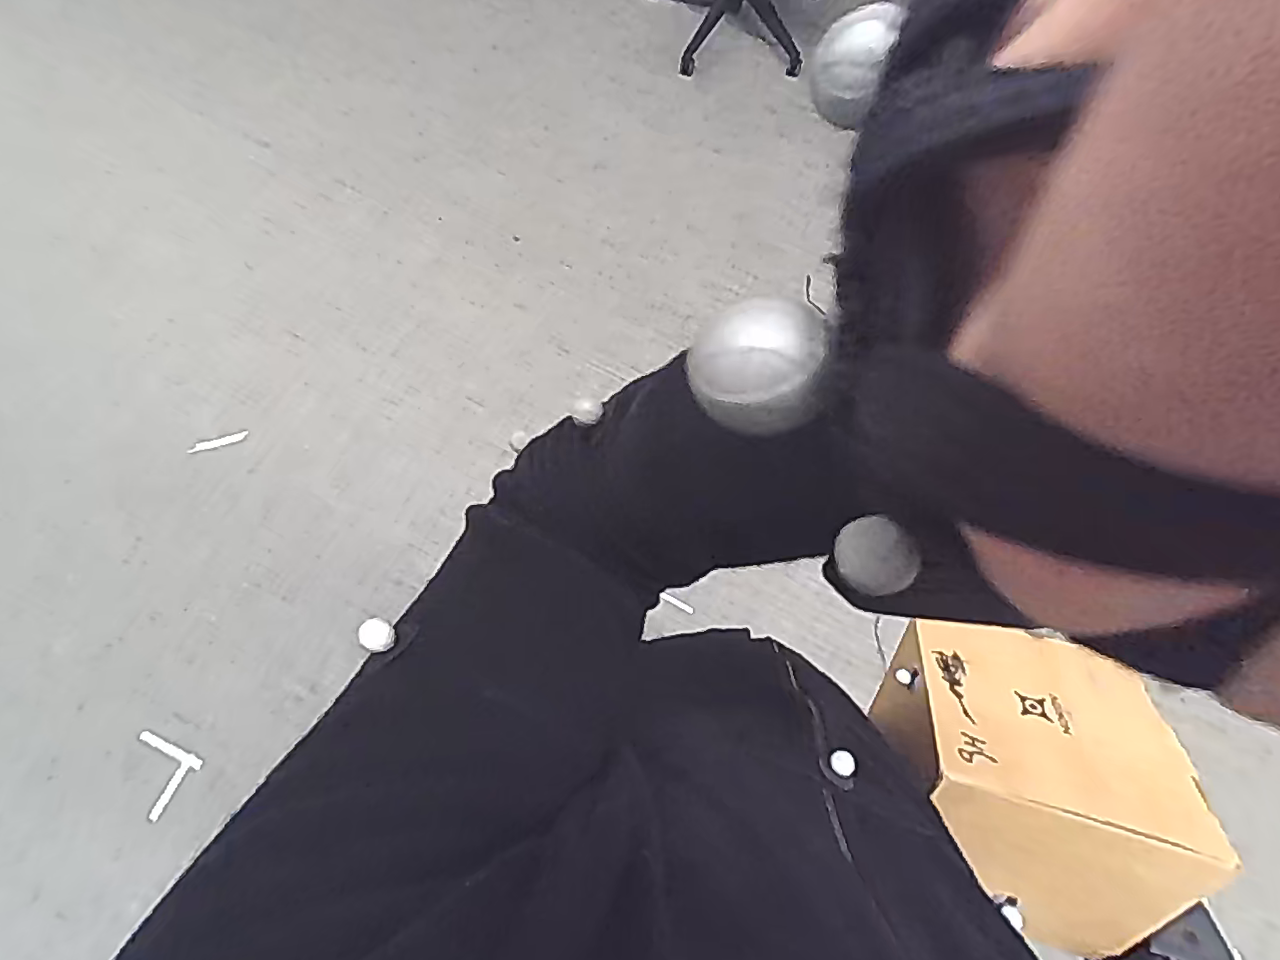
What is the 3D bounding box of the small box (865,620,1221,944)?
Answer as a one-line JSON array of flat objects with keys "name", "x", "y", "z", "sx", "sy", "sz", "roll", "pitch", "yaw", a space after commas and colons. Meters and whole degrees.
[{"name": "small box", "x": 0.314, "y": 0.259, "z": 0.474, "sx": 0.179, "sy": 0.176, "sz": 0.168, "roll": 12, "pitch": 33, "yaw": 13}]
